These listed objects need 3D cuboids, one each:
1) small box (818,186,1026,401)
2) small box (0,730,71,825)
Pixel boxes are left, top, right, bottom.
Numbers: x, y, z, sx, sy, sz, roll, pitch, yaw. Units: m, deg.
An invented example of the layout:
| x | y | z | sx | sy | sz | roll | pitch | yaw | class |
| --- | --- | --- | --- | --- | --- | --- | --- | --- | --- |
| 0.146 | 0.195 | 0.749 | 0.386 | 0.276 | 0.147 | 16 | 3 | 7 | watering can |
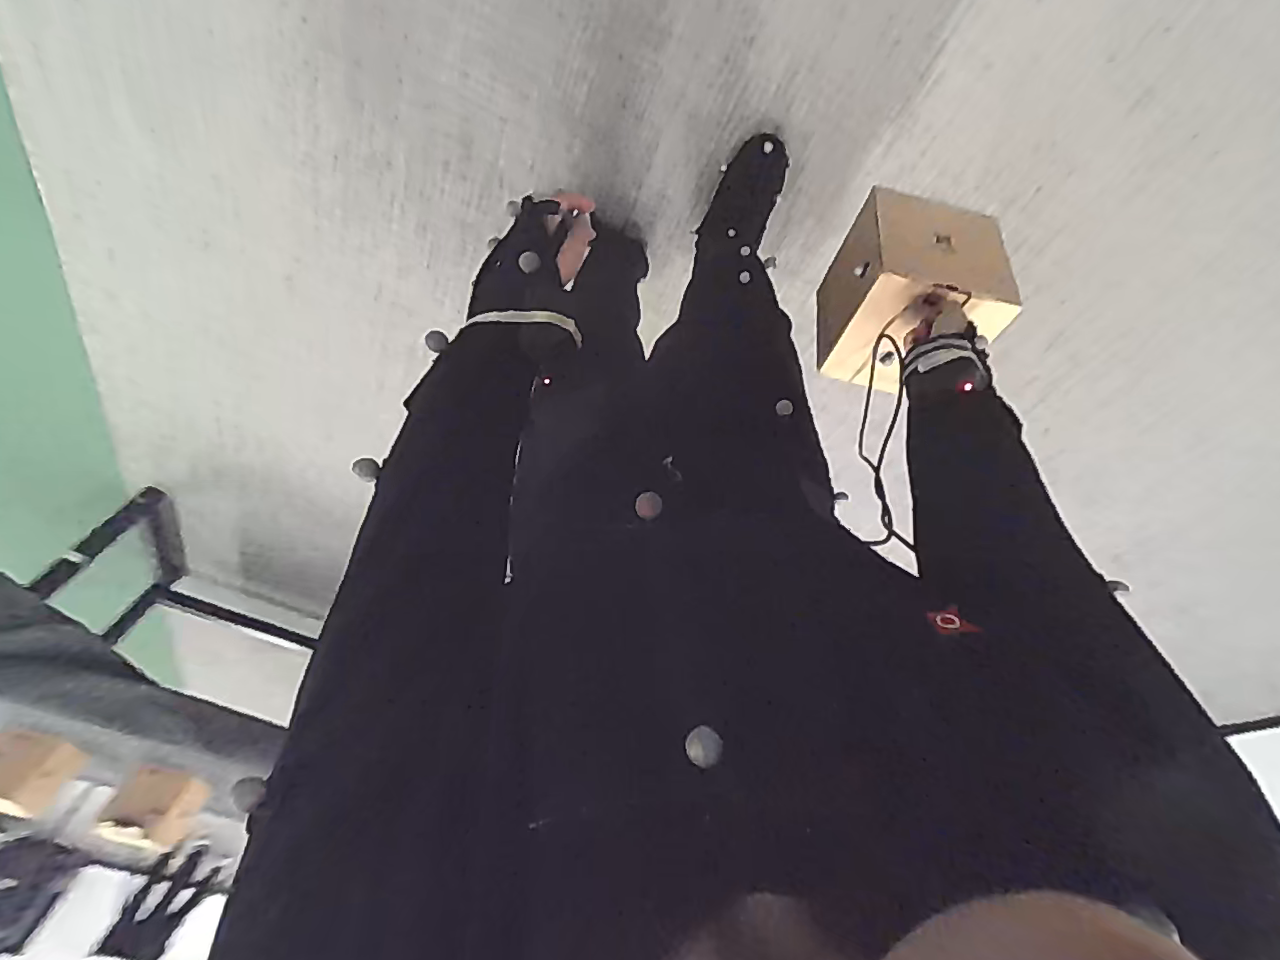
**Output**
| x | y | z | sx | sy | sz | roll | pitch | yaw | class |
| --- | --- | --- | --- | --- | --- | --- | --- | --- | --- |
| 0.340 | -0.233 | 0.692 | 0.168 | 0.179 | 0.176 | 13 | 148 | -2 | small box |
| -1.726 | 0.801 | 1.464 | 0.168 | 0.176 | 0.179 | 19 | 132 | -6 | small box |
